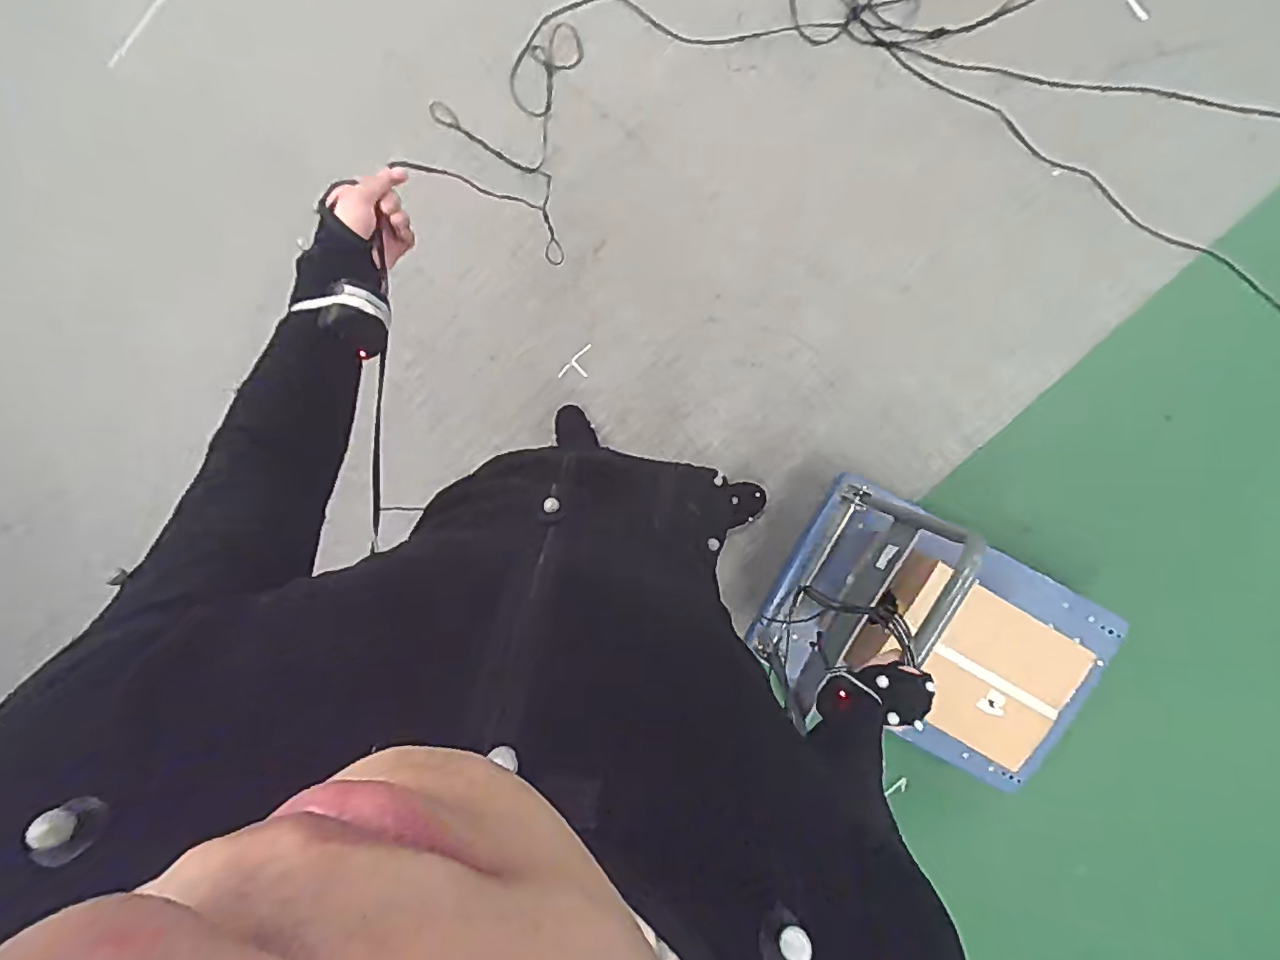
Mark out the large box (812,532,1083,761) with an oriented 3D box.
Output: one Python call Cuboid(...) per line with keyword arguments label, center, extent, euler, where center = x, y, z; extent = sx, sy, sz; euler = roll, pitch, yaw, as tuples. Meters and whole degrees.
Cuboid(label="large box", center=(0.703, 0.375, 1.308), extent=(0.408, 0.320, 0.320), euler=(31, 97, -3))
